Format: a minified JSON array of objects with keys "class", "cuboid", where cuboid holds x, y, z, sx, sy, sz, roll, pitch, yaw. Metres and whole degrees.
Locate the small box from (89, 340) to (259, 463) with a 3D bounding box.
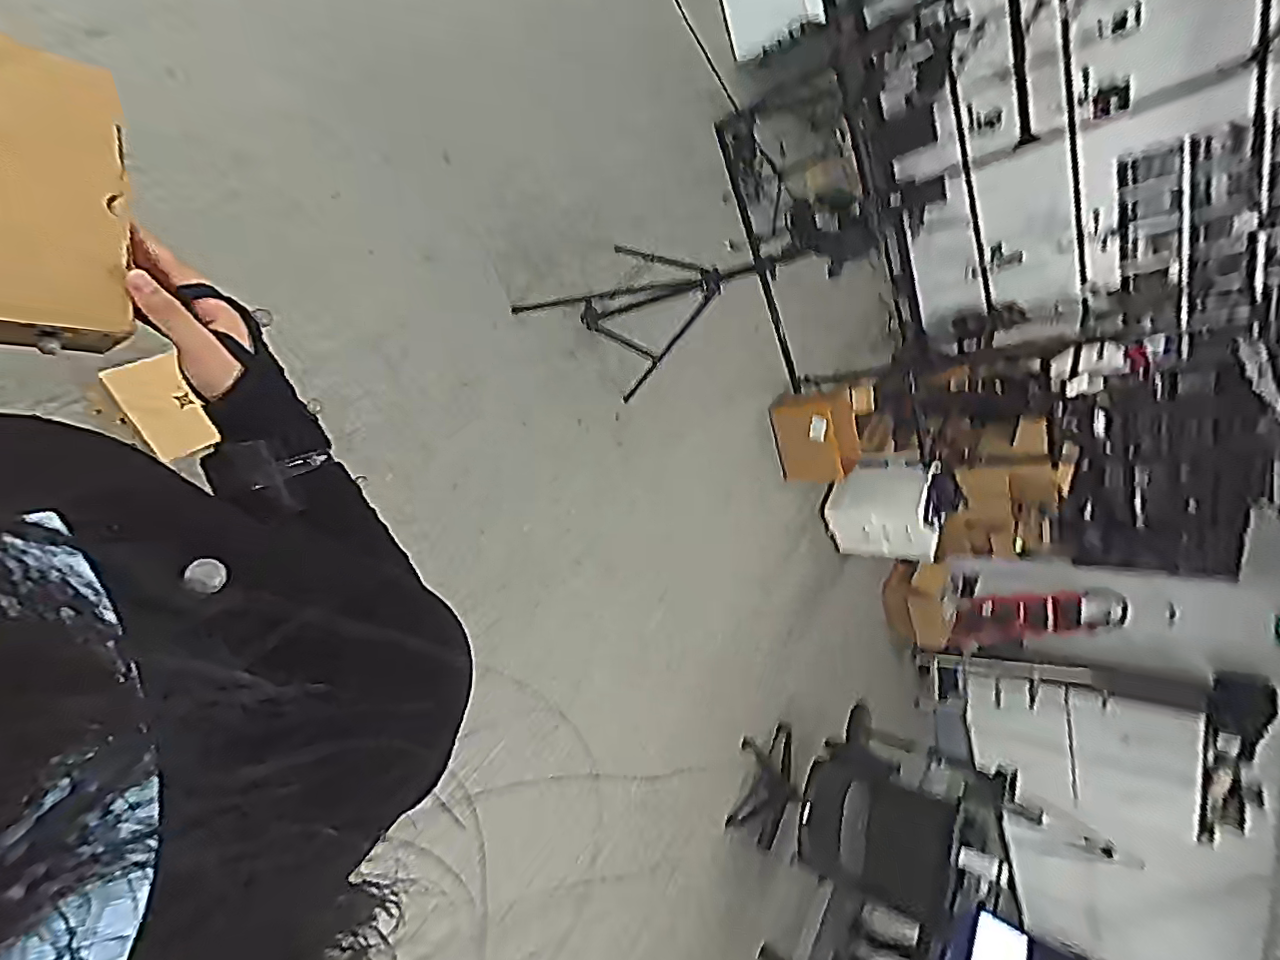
[{"class":"small box","cuboid":[-0.851,-0.139,0.991,0.179,0.176,0.168,-39,117,-41]}]
